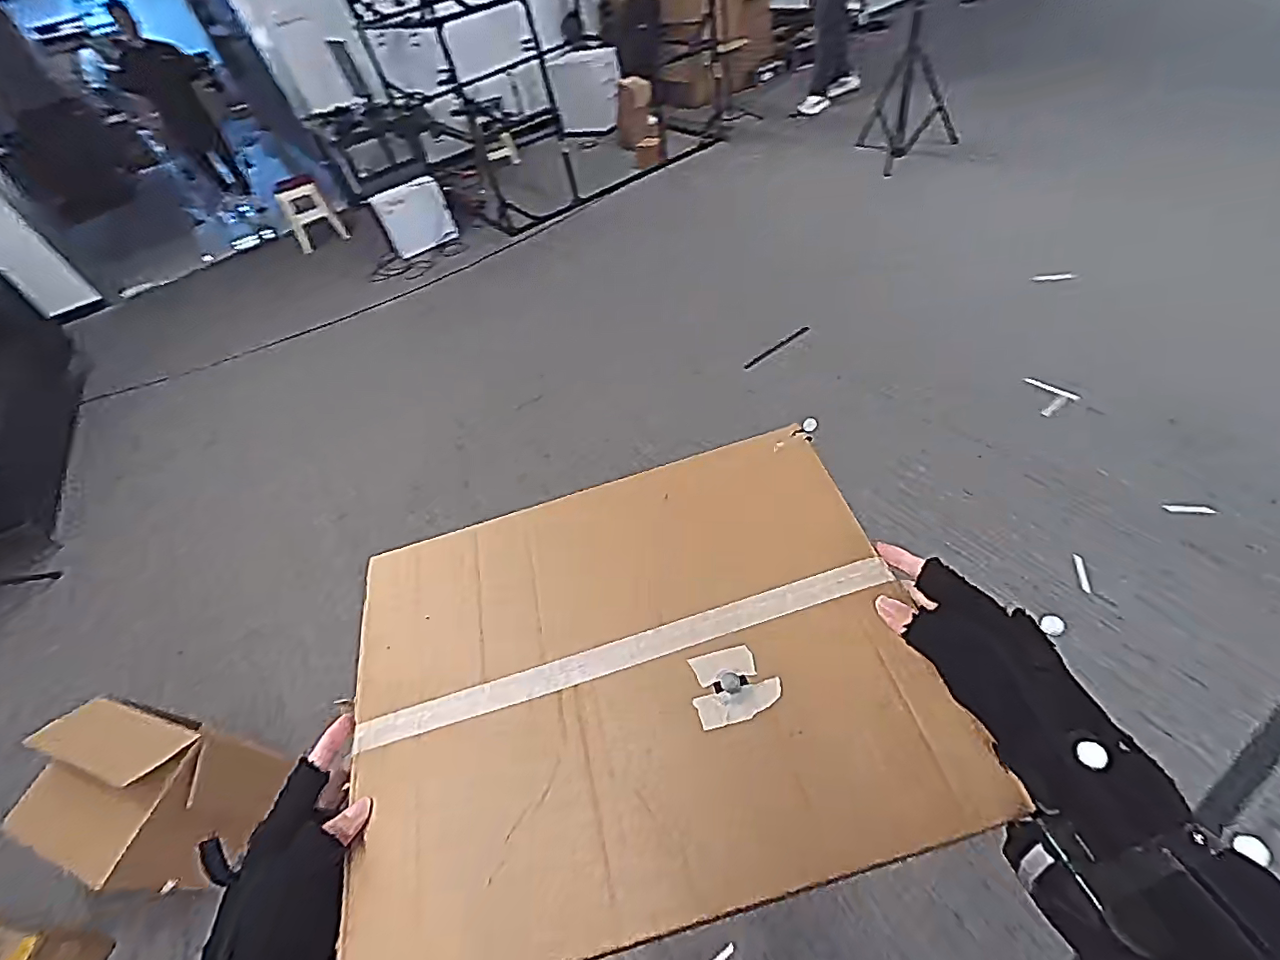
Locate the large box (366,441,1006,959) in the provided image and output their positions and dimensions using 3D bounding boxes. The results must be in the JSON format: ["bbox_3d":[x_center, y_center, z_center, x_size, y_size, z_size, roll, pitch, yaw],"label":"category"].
[{"bbox_3d":[0.018,0.223,0.522,0.408,0.320,0.320,-17,53,-1],"label":"large box"}]
